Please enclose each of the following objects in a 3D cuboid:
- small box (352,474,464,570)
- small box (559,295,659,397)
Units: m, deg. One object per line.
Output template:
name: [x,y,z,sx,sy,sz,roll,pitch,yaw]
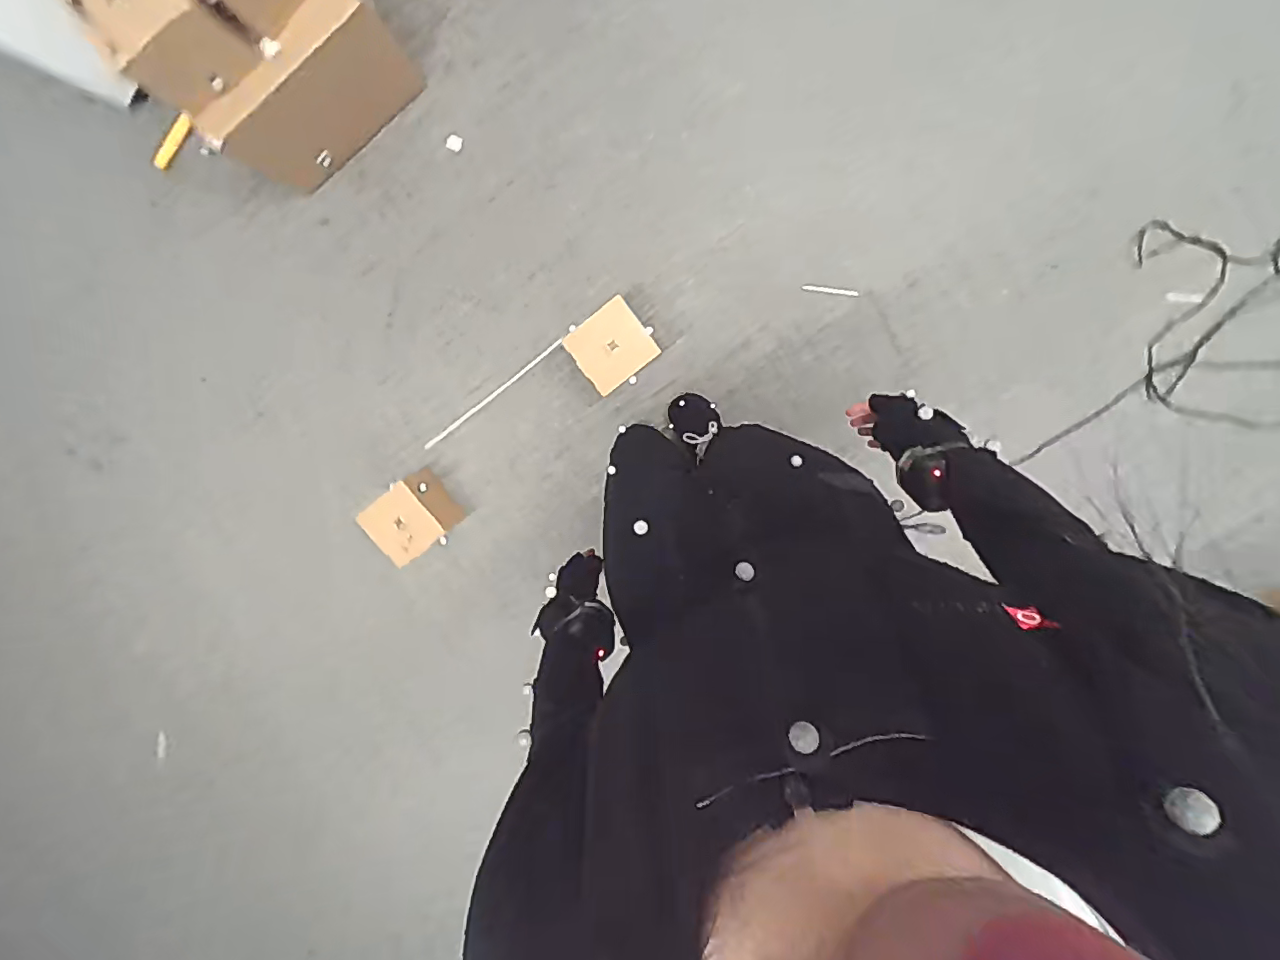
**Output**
small box: [-0.600,0.099,1.422,0.168,0.176,0.179,-37,99,9]
small box: [-0.072,-0.325,1.319,0.179,0.176,0.168,-37,99,9]
